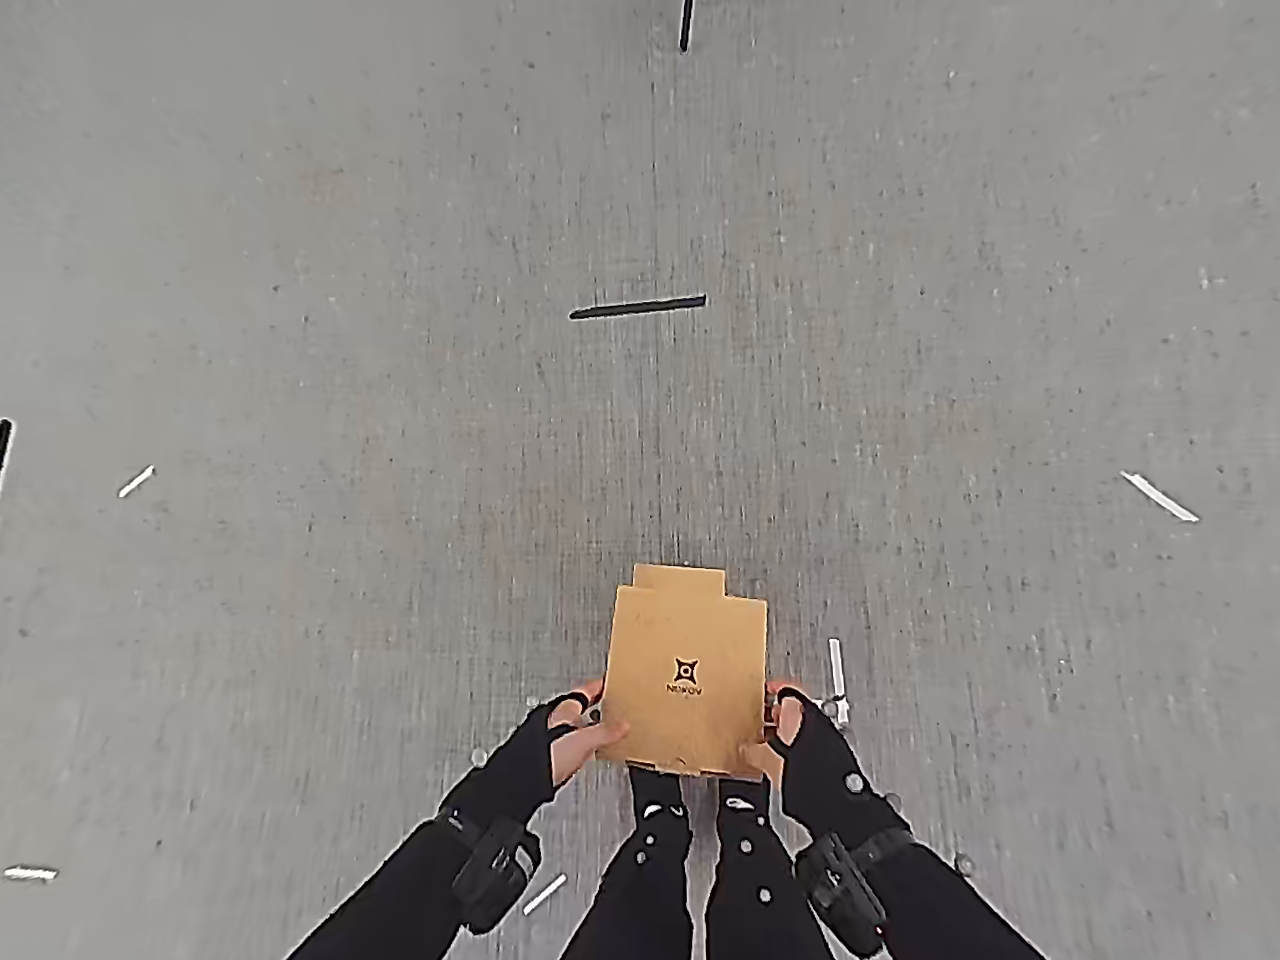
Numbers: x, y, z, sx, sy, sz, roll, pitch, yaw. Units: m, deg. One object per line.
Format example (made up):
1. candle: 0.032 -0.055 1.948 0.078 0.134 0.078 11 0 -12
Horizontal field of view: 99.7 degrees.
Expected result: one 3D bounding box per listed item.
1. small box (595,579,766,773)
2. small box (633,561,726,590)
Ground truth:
1. small box: 0.049 0.227 0.632 0.168 0.176 0.179 5 68 5
2. small box: 0.075 0.252 1.021 0.168 0.176 0.179 2 79 10
